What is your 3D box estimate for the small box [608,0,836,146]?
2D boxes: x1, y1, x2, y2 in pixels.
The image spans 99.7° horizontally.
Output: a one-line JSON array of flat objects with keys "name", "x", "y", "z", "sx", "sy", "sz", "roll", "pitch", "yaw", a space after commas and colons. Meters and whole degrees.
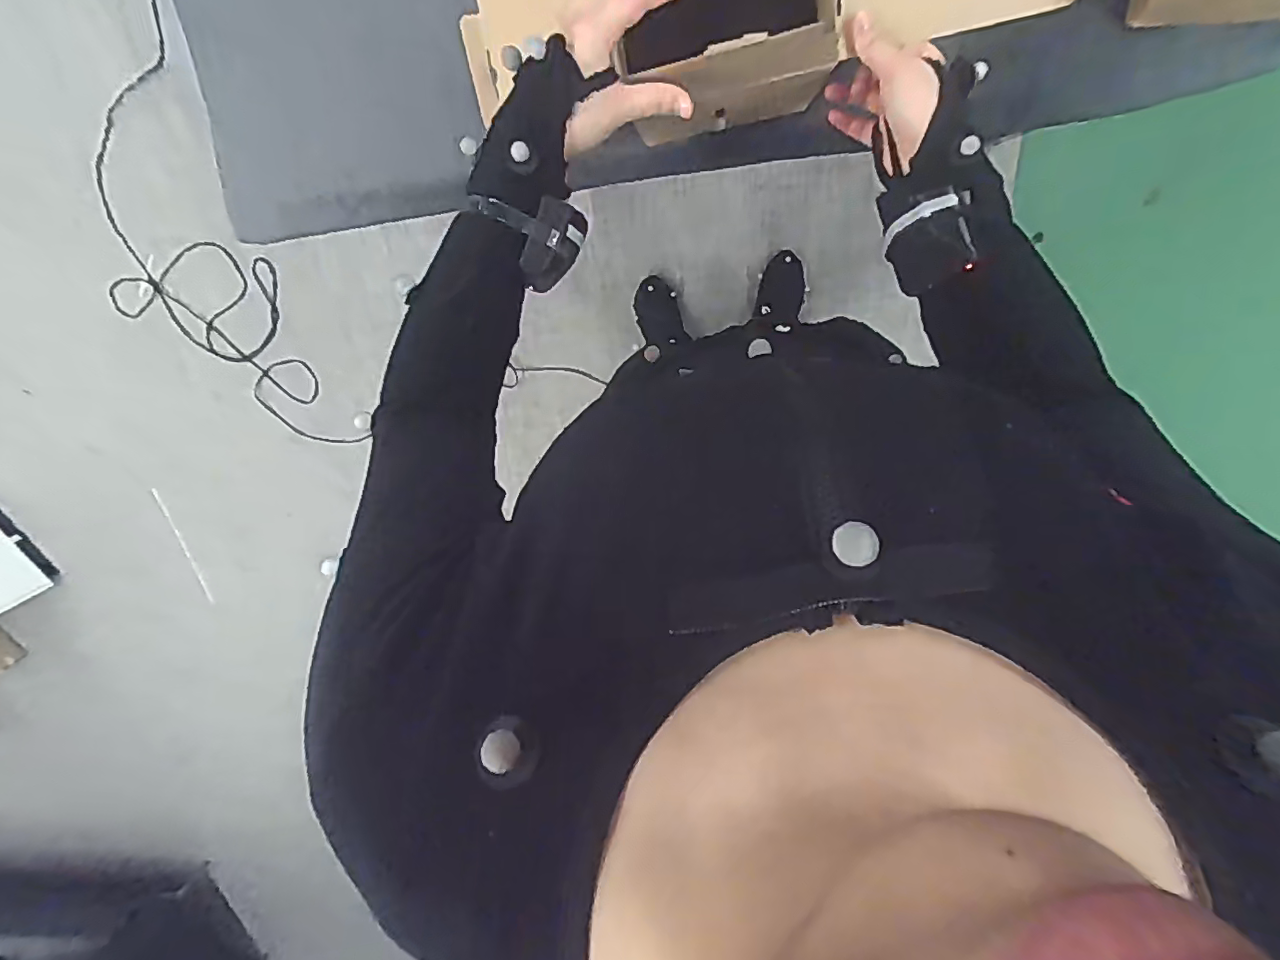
[{"name": "small box", "x": 0.070, "y": -0.422, "z": 0.490, "sx": 0.179, "sy": 0.176, "sz": 0.168, "roll": -6, "pitch": 113, "yaw": 12}]
